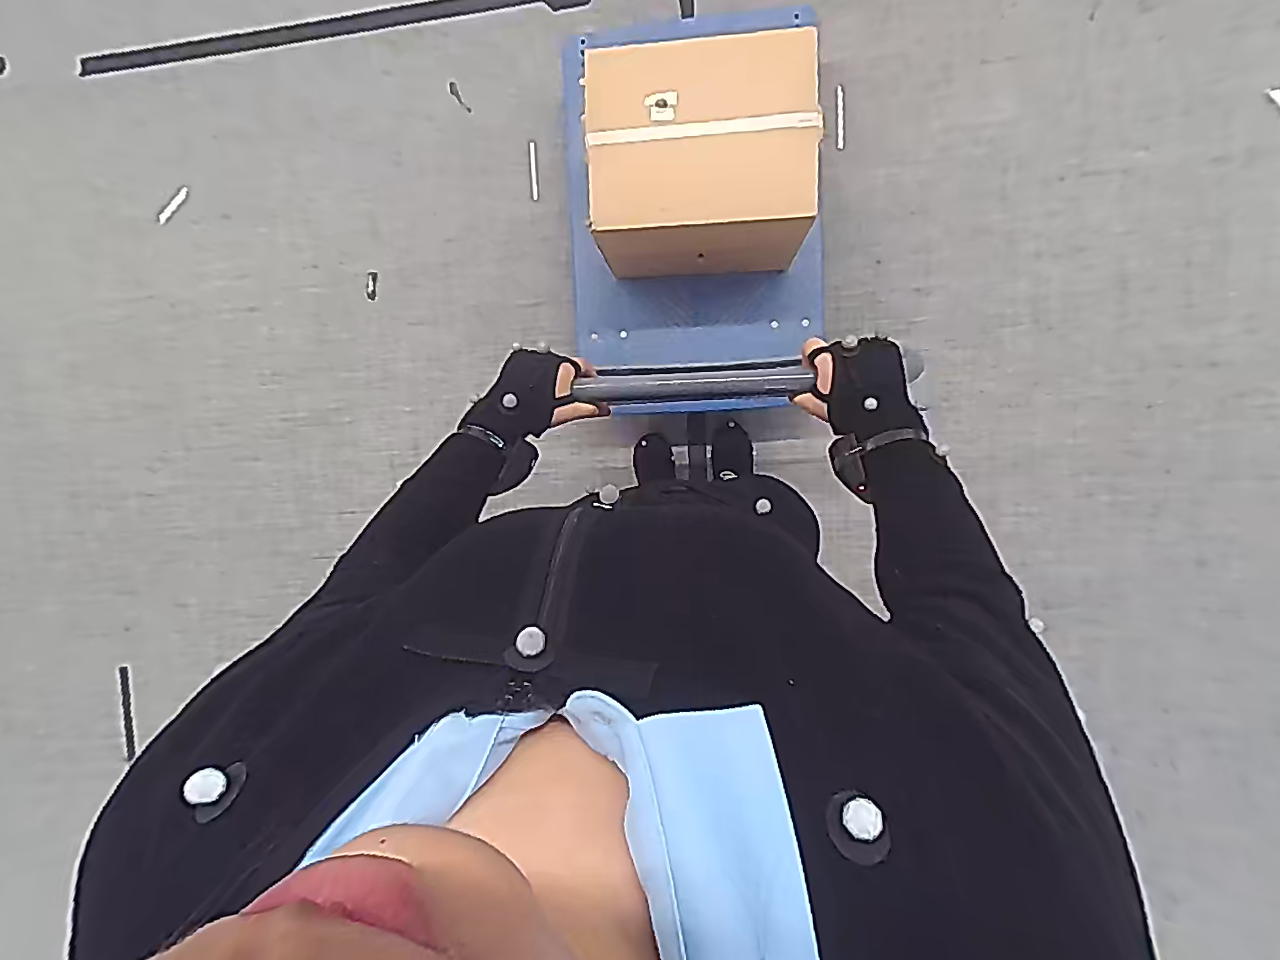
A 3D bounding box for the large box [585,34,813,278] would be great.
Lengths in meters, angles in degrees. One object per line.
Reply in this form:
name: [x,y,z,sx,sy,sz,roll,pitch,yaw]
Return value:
large box: [0.122,-0.624,1.112,0.408,0.320,0.320,-1,94,7]
